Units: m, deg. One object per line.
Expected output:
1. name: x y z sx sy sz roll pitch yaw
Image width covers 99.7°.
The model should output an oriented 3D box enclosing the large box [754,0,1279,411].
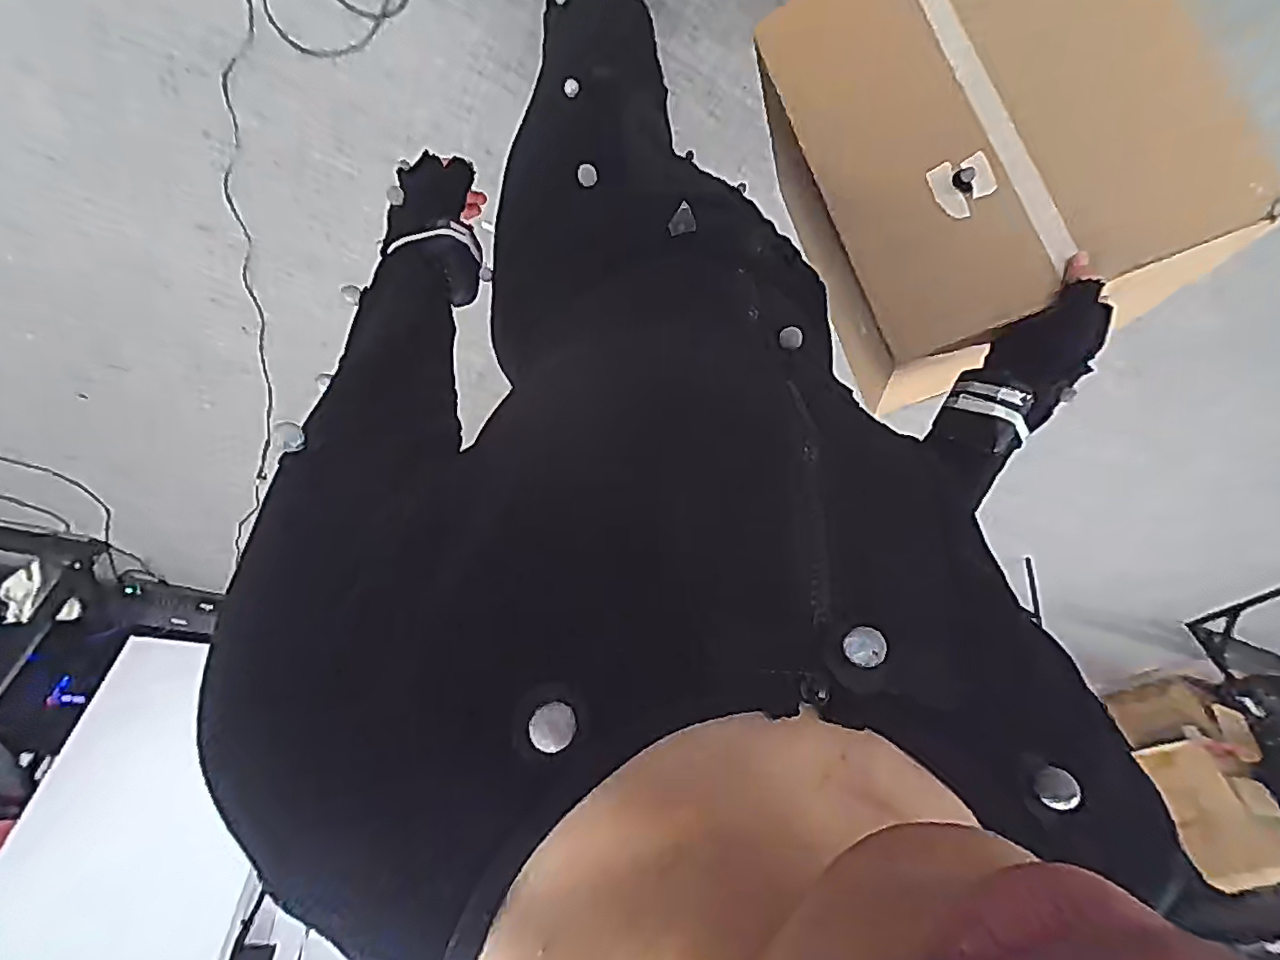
1. large box: 0.366 -0.342 0.650 0.320 0.408 0.320 -22 171 17
